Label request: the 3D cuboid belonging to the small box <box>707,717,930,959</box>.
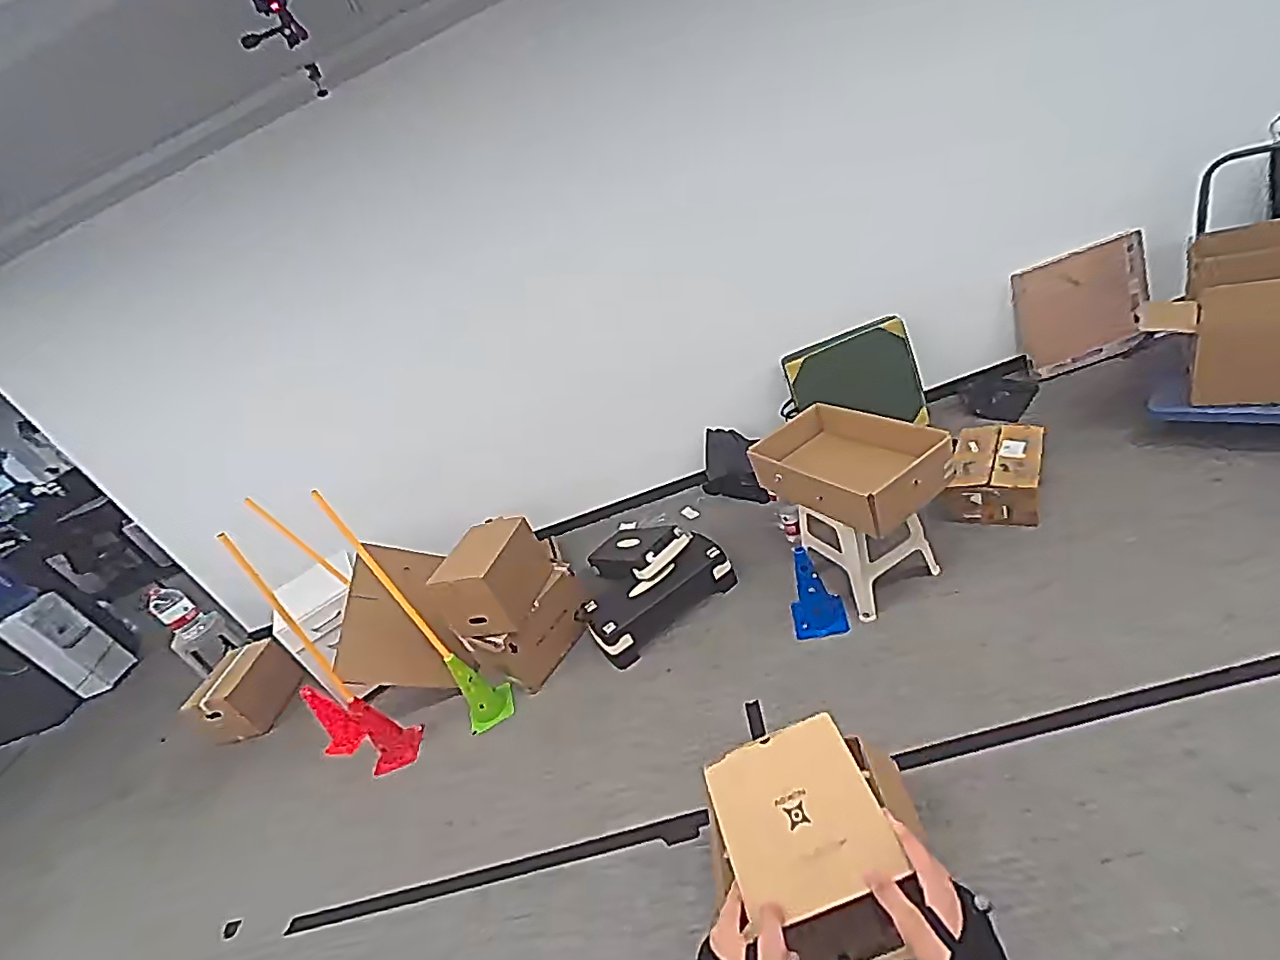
[{"bbox_3d":[0.196,0.416,0.612,0.168,0.176,0.179,-25,31,3],"label":"small box"}]
